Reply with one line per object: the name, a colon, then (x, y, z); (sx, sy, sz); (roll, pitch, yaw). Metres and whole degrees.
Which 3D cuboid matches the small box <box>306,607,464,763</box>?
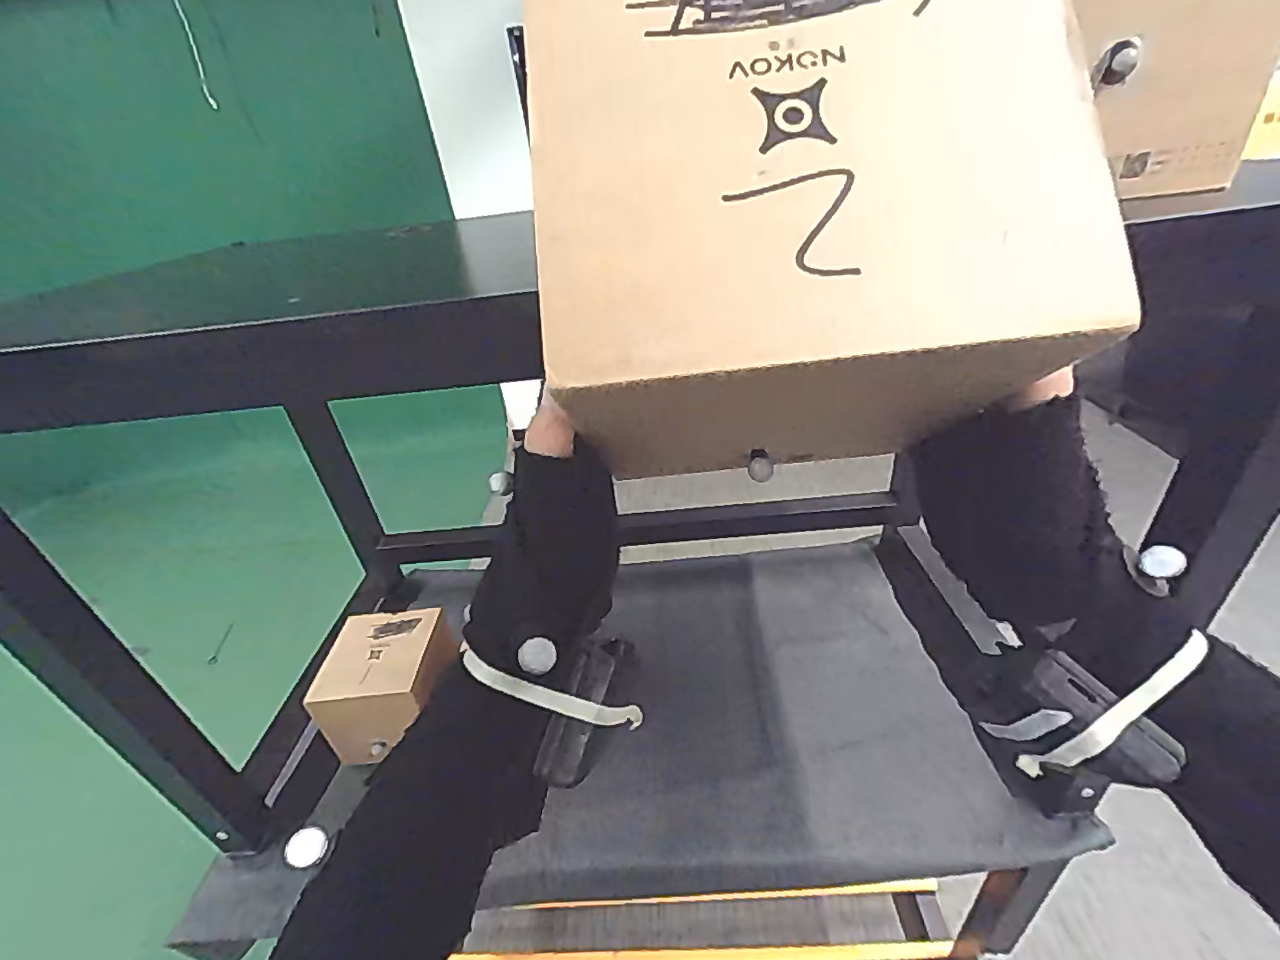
small box: (-0.411, 0.342, 0.912); (0.168, 0.176, 0.179); (-7, 32, 2)
